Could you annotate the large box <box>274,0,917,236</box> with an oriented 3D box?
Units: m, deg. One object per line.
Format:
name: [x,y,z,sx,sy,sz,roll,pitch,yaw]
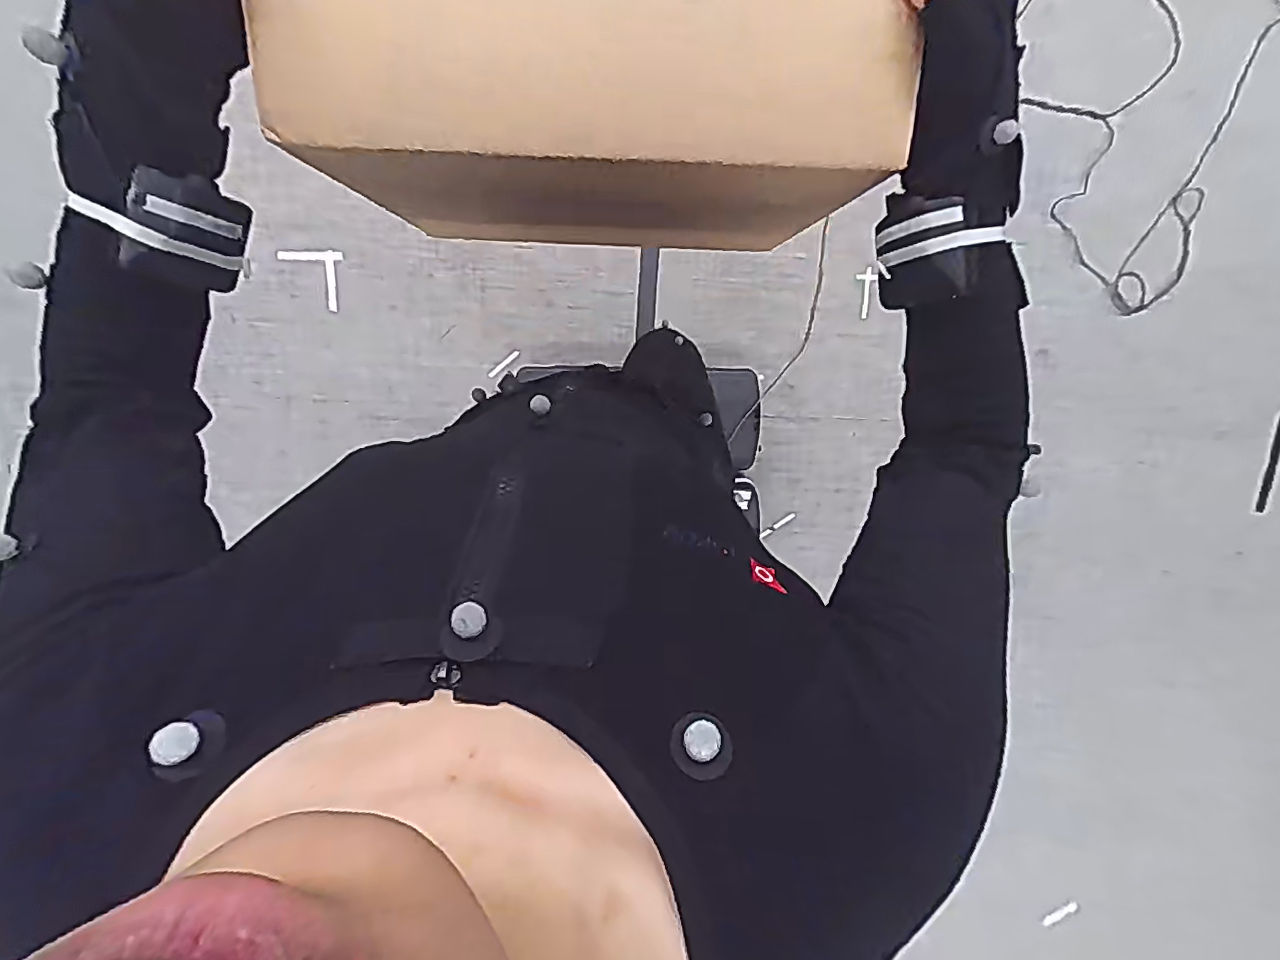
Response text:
large box: [-0.031,-0.403,0.459,0.408,0.320,0.320,0,105,-3]

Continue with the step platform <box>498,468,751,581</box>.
step platform: [-0.040,0.120,1.492,0.684,0.204,0.286,0,99,1]
